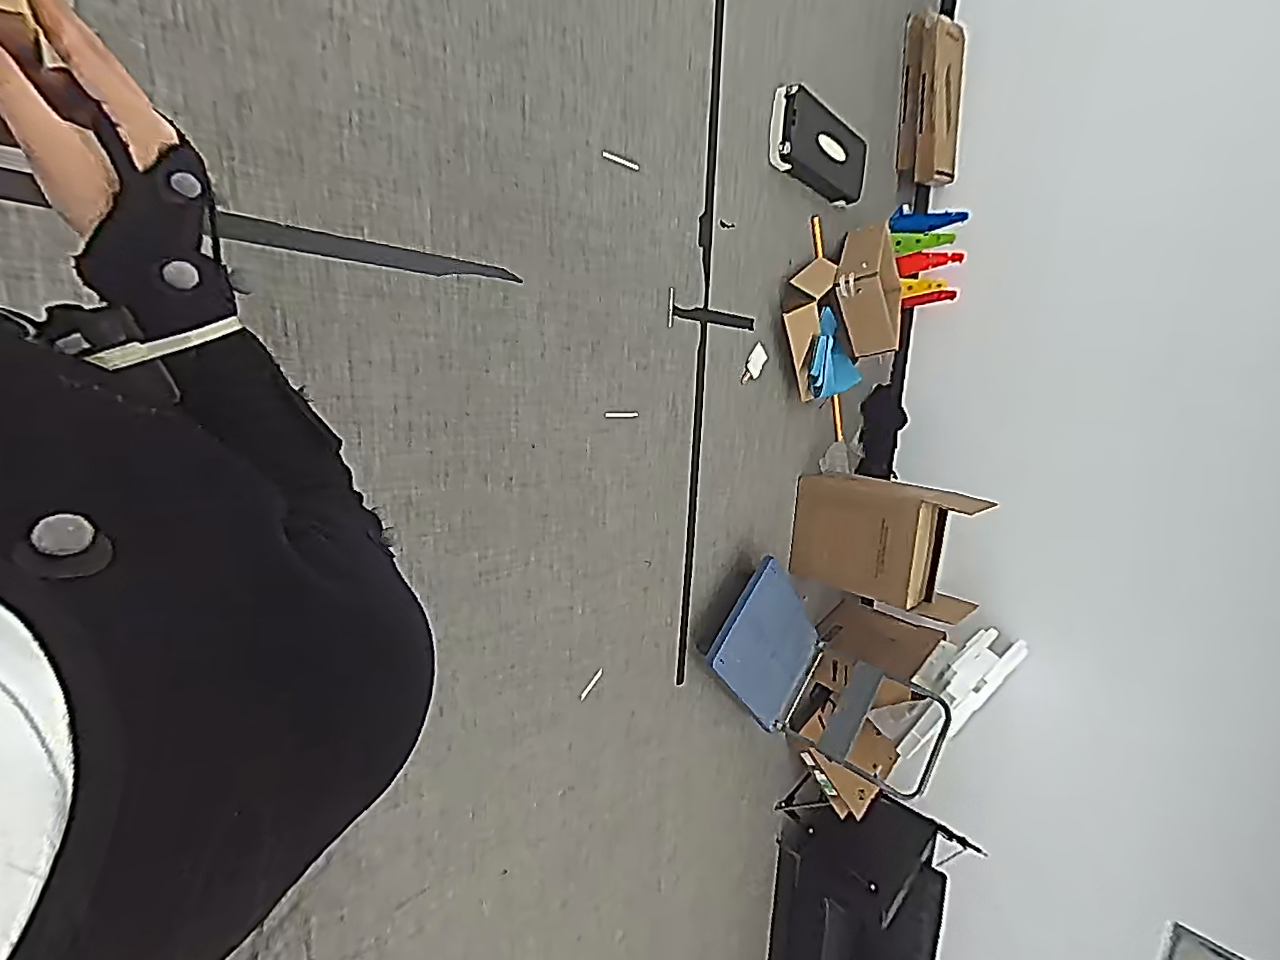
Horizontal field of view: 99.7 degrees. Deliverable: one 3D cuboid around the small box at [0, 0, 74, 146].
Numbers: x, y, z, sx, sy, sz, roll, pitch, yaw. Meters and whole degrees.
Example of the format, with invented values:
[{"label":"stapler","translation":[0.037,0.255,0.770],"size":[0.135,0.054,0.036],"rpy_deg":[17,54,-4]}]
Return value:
[{"label":"small box","translation":[-0.404,-0.286,0.246],"size":[0.179,0.176,0.168],"rpy_deg":[-12,101,-42]}]
